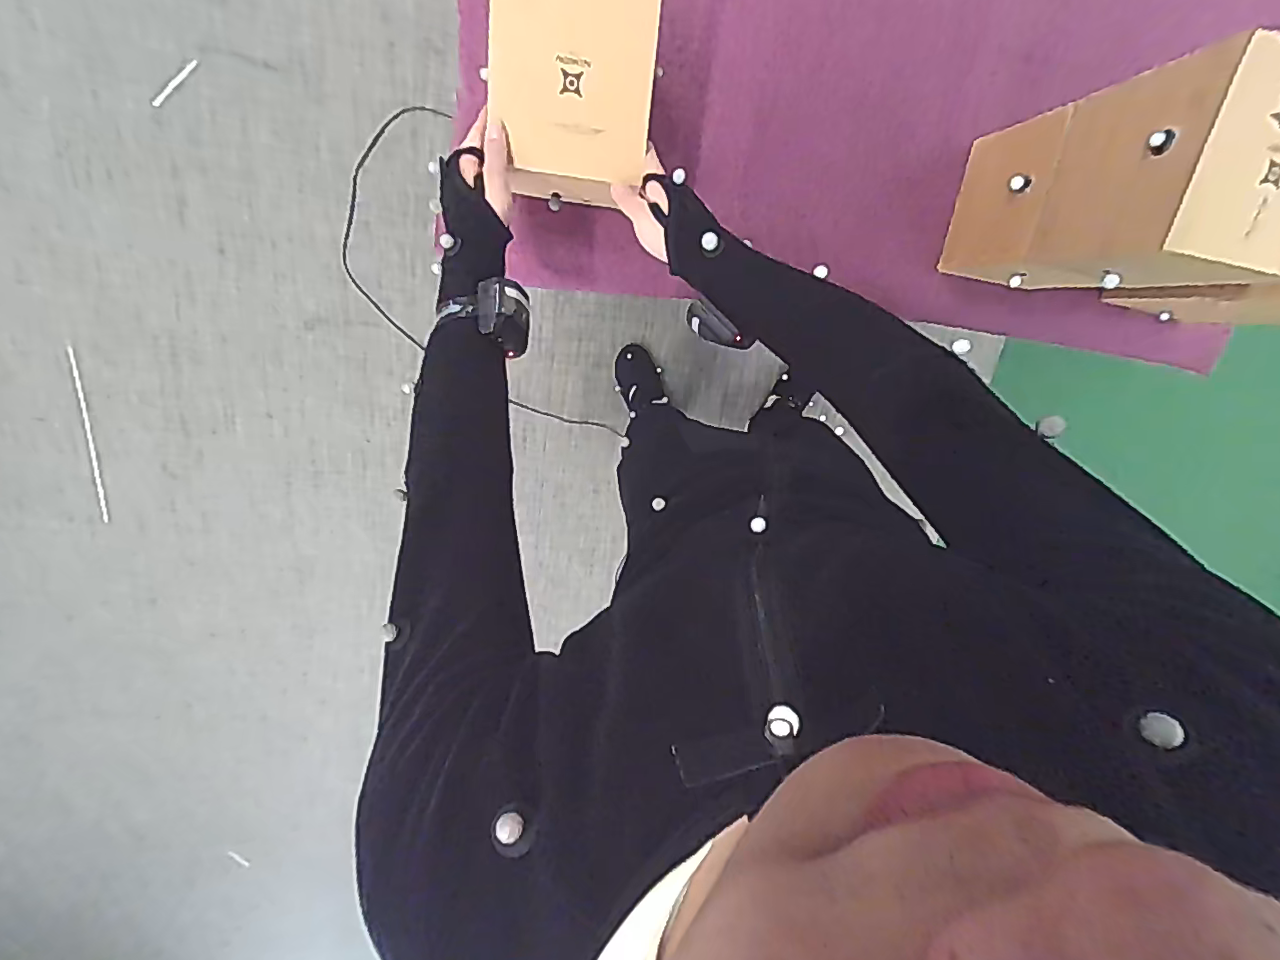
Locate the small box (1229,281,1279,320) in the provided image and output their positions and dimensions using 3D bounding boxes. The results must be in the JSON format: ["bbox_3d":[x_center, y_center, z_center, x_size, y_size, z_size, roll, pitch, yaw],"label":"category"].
[{"bbox_3d":[0.837,-0.270,0.598,0.168,0.176,0.179,9,106,-8],"label":"small box"}]

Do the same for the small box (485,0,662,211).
[{"bbox_3d":[-0.076,-0.425,0.615,0.168,0.176,0.179,5,108,-6],"label":"small box"}]

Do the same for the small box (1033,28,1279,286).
[{"bbox_3d":[0.560,-0.307,0.558,0.168,0.176,0.179,7,107,-8],"label":"small box"}]

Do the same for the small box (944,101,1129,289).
[{"bbox_3d":[0.541,-0.356,0.714,0.168,0.176,0.179,7,106,-8],"label":"small box"}]
